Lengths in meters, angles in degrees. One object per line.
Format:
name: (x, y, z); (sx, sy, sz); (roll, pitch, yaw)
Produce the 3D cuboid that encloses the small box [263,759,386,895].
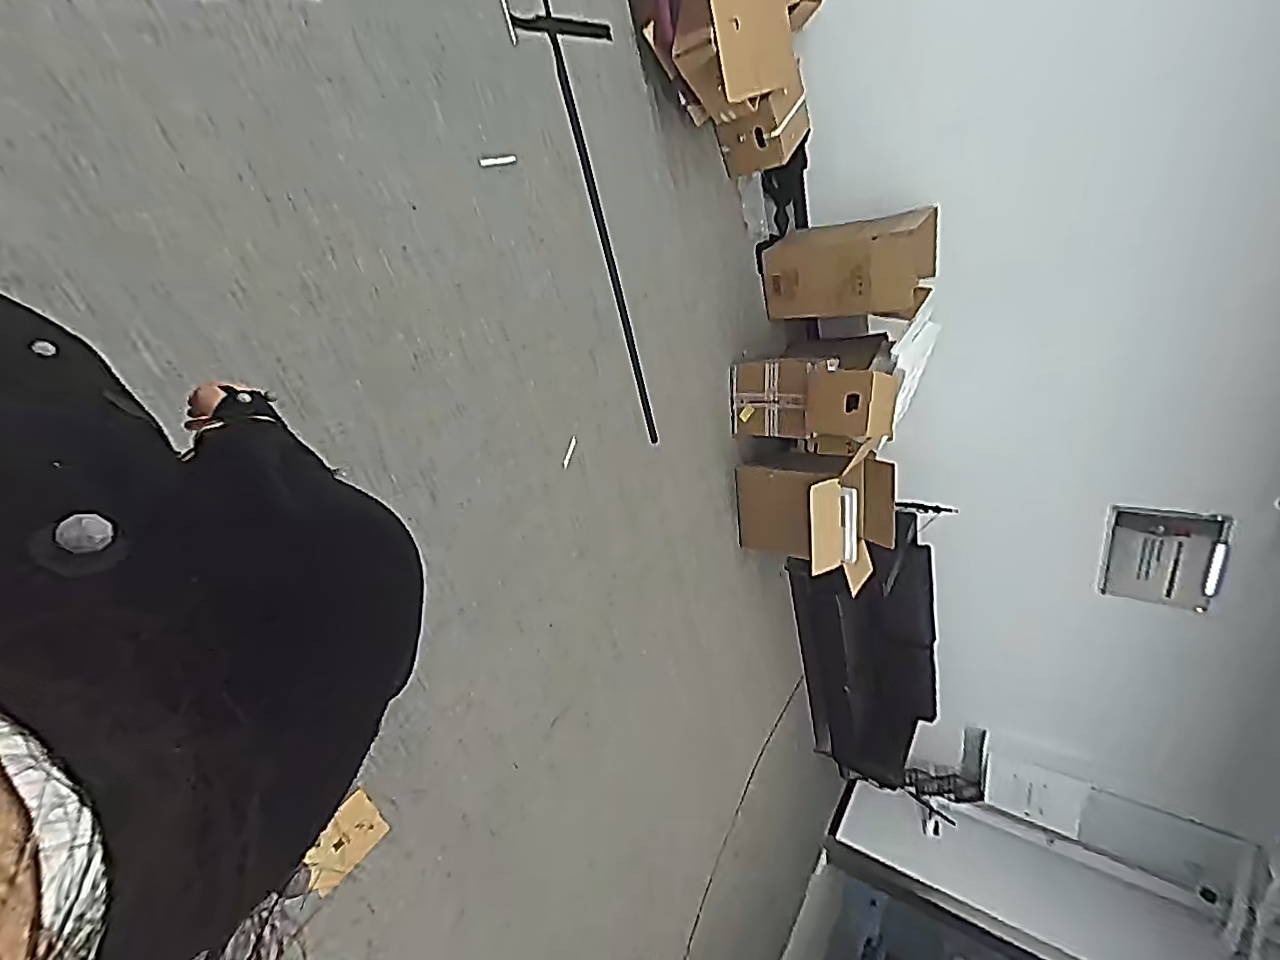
small box: (-0.747, 0.806, 1.272); (0.179, 0.176, 0.168); (-40, 126, -42)
